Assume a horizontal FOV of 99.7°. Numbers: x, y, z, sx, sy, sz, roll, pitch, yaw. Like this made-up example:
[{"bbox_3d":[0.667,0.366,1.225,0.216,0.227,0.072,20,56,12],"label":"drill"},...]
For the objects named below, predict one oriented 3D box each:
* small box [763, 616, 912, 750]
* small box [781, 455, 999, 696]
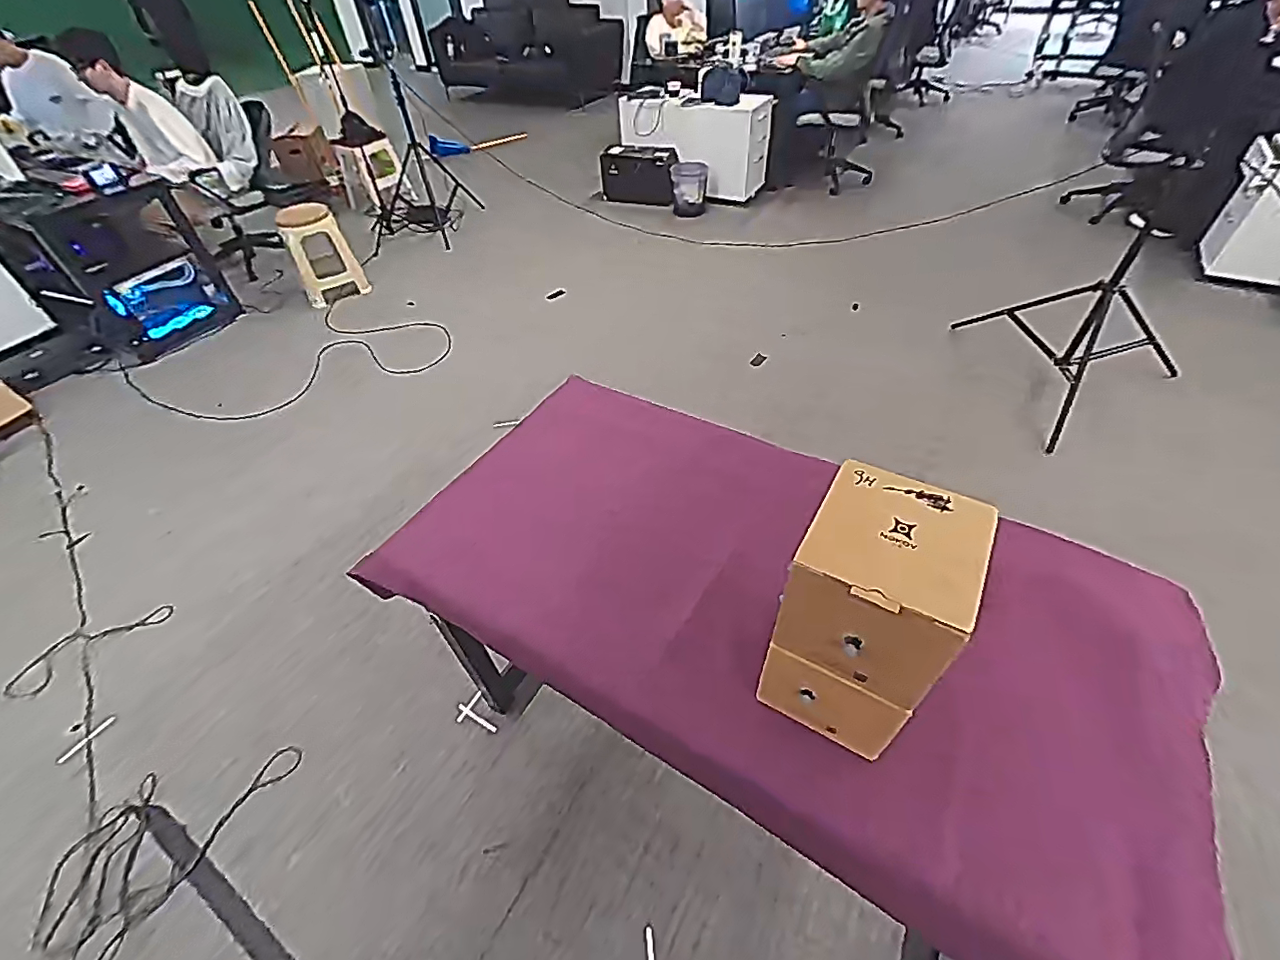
[{"bbox_3d":[0.275,0.225,0.727,0.168,0.176,0.179,22,51,23],"label":"small box"},{"bbox_3d":[0.270,0.108,0.611,0.168,0.176,0.179,23,52,24],"label":"small box"}]
